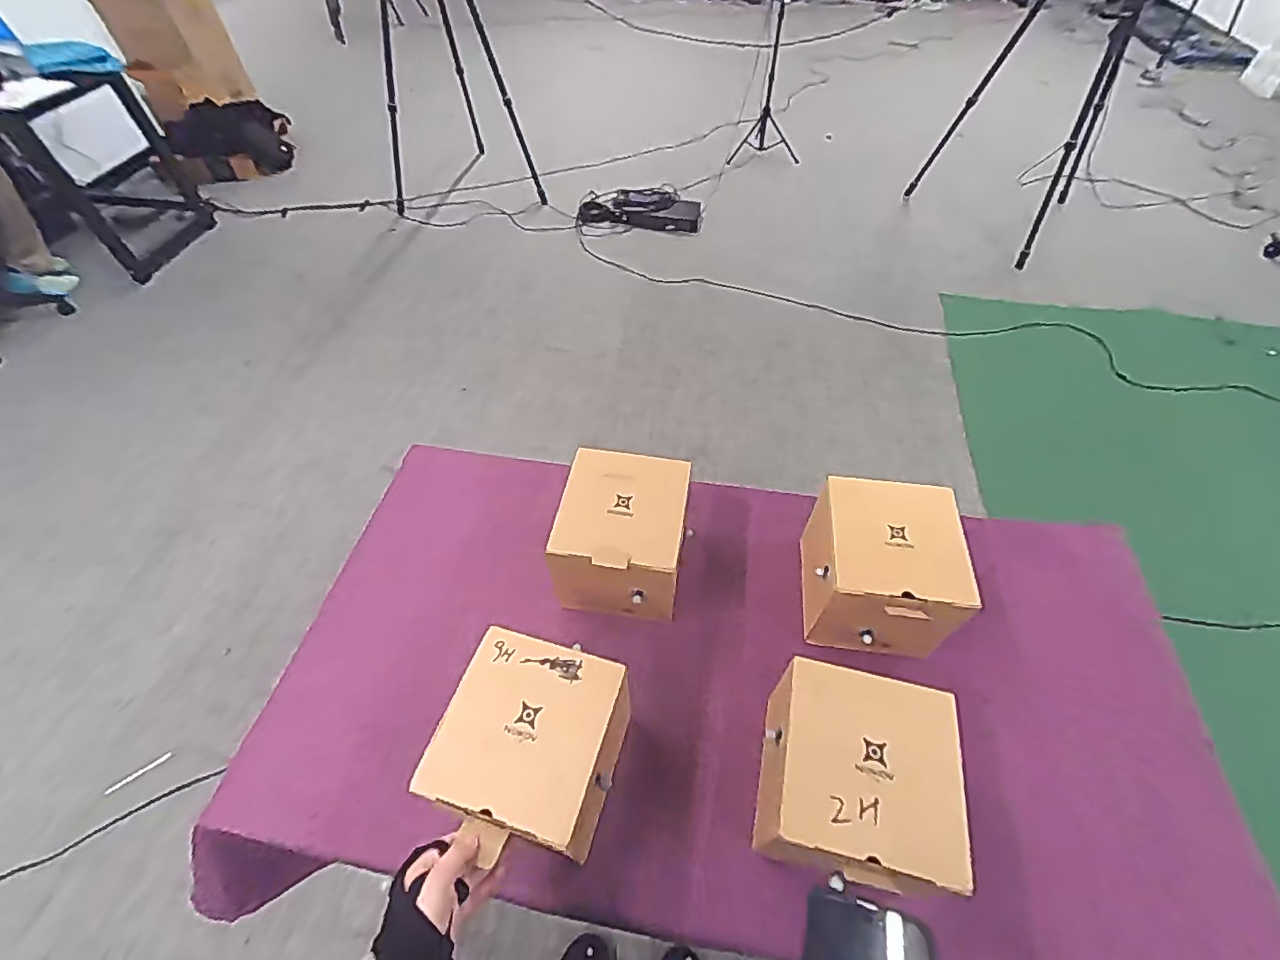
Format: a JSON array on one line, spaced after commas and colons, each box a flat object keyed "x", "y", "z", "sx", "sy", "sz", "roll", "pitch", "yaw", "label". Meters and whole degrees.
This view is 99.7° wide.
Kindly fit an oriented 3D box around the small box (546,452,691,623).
[{"x": -0.022, "y": 0.086, "z": 0.777, "sx": 0.168, "sy": 0.176, "sz": 0.179, "roll": 8, "pitch": 53, "yaw": 6, "label": "small box"}]

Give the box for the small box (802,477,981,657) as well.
[{"x": 0.324, "y": 0.120, "z": 0.742, "sx": 0.168, "sy": 0.176, "sz": 0.179, "roll": 5, "pitch": 53, "yaw": 6, "label": "small box"}]

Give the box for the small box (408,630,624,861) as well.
[{"x": -0.118, "y": 0.301, "z": 0.608, "sx": 0.168, "sy": 0.176, "sz": 0.179, "roll": 13, "pitch": 52, "yaw": 11, "label": "small box"}]

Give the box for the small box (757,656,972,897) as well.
[{"x": 0.227, "y": 0.321, "z": 0.585, "sx": 0.168, "sy": 0.176, "sz": 0.179, "roll": 11, "pitch": 53, "yaw": 10, "label": "small box"}]
